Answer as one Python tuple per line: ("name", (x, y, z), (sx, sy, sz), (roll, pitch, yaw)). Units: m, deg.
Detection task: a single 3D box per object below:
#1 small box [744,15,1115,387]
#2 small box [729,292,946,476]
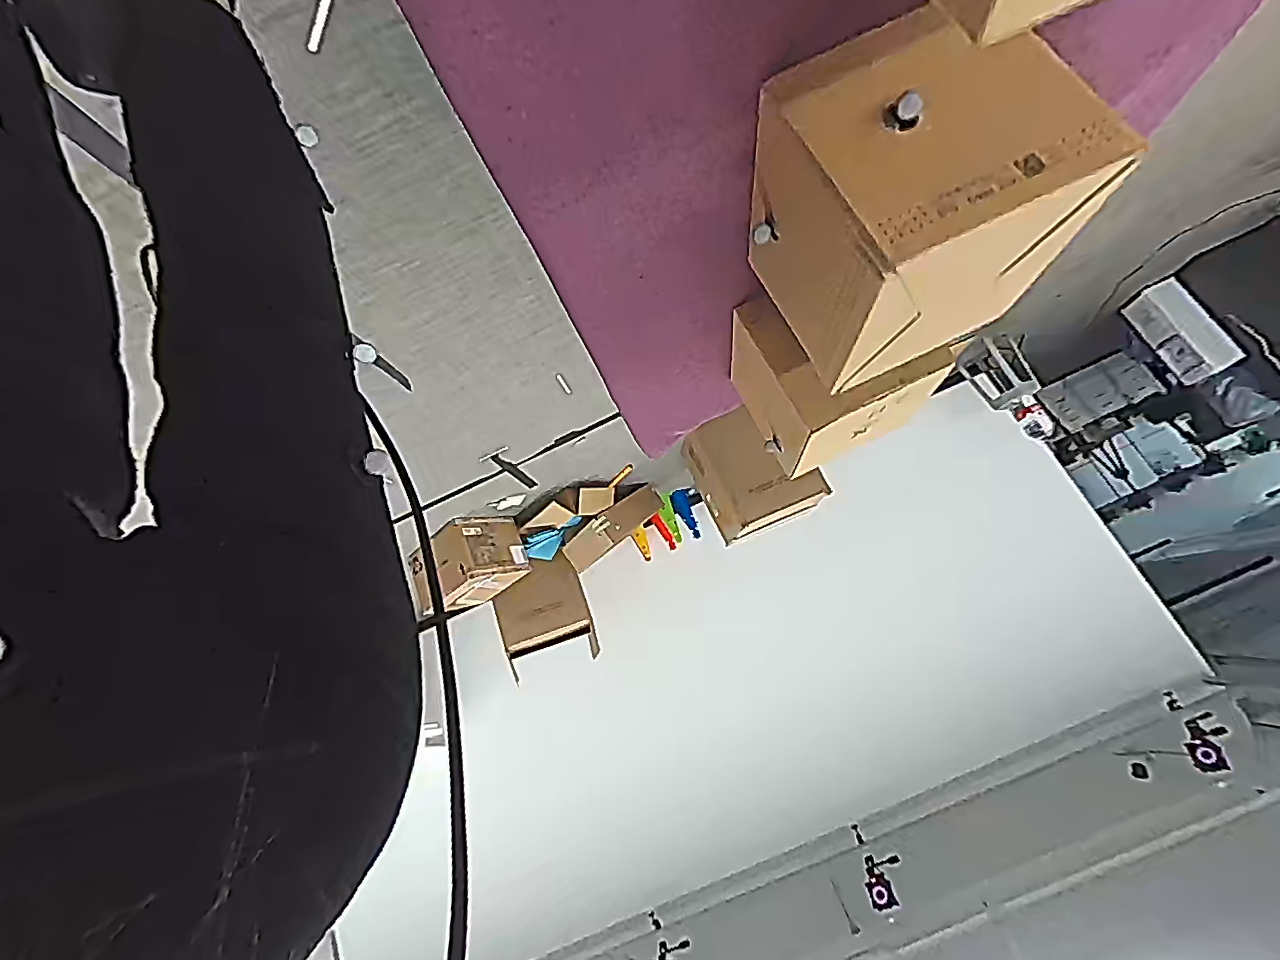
("small box", (0.197, -0.205, 0.423), (0.168, 0.176, 0.179), (-26, 162, -1))
("small box", (0.219, -0.132, 0.657), (0.168, 0.176, 0.179), (-27, 162, -1))
